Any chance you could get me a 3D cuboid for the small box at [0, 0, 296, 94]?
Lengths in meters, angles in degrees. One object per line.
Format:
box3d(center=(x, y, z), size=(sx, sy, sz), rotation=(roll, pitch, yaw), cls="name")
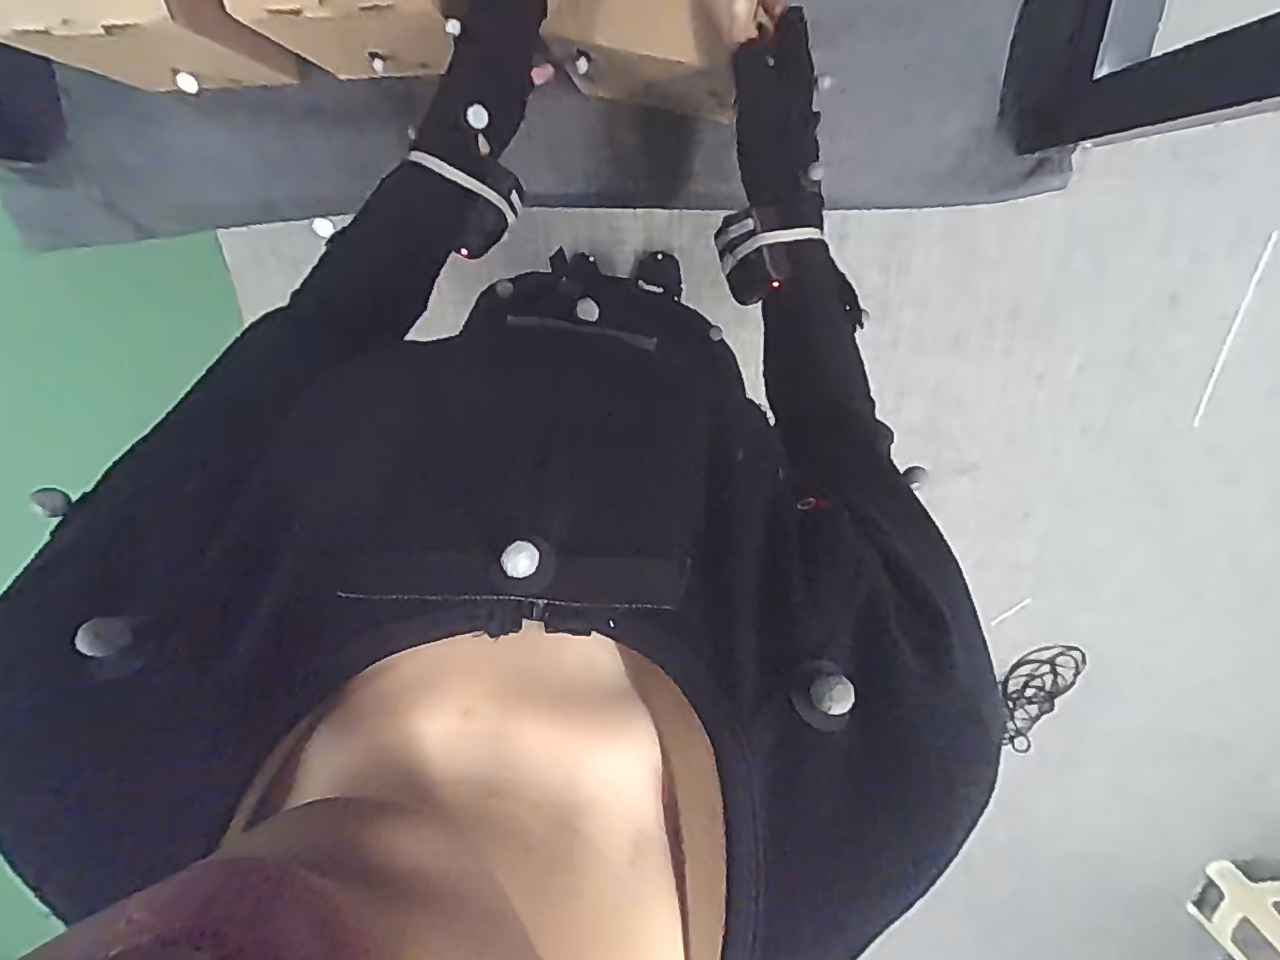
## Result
box3d(center=(-0.446, -0.467, 0.472), size=(0.168, 0.176, 0.179), rotation=(-2, 113, 2), cls="small box")
